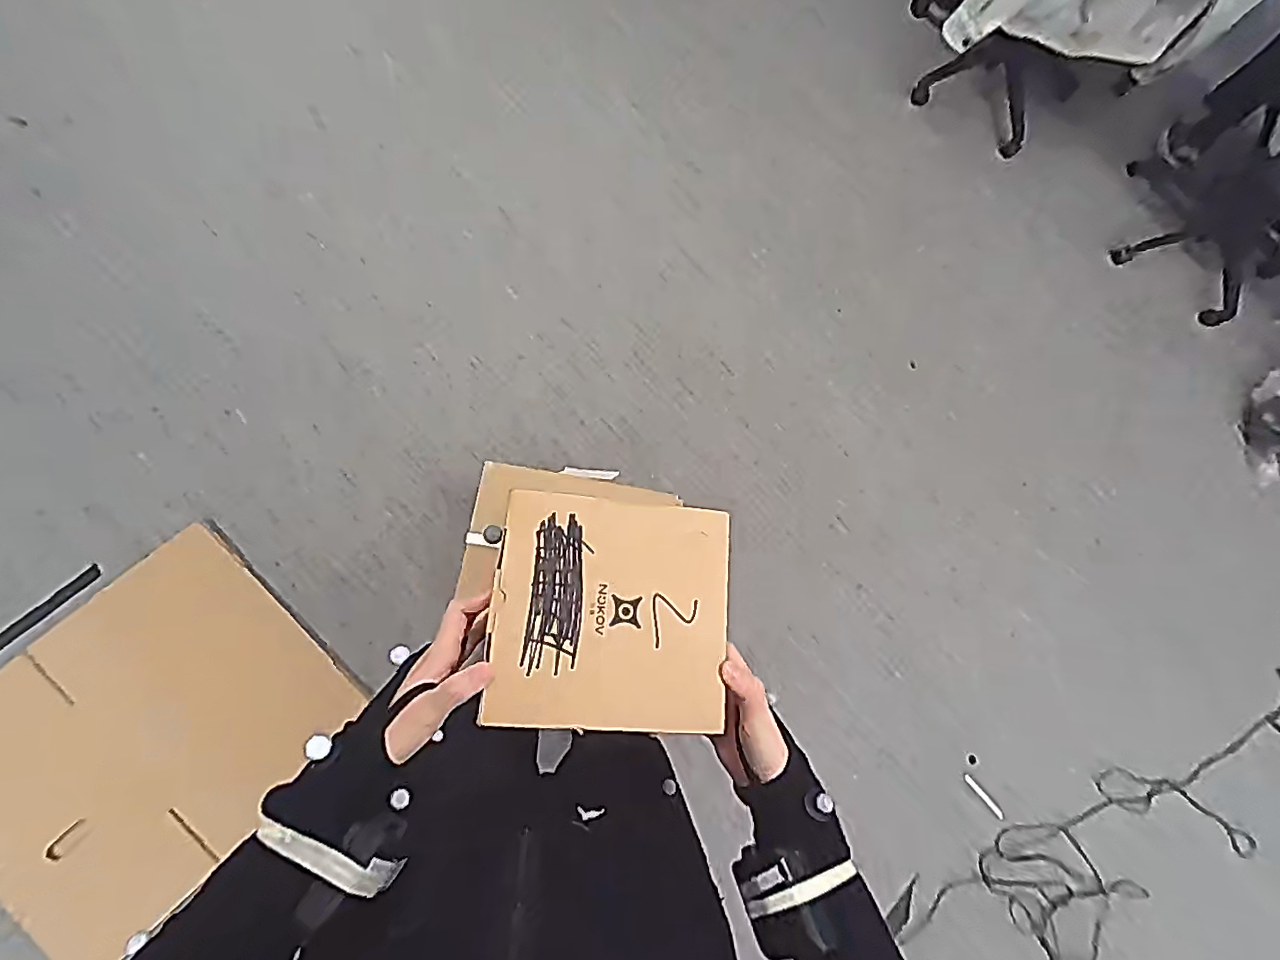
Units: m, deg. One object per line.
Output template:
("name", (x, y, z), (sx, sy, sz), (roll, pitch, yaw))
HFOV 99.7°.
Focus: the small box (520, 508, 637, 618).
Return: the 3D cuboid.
("small box", (-0.113, 0.152, 0.969), (0.179, 0.176, 0.168), (8, 79, -9))
